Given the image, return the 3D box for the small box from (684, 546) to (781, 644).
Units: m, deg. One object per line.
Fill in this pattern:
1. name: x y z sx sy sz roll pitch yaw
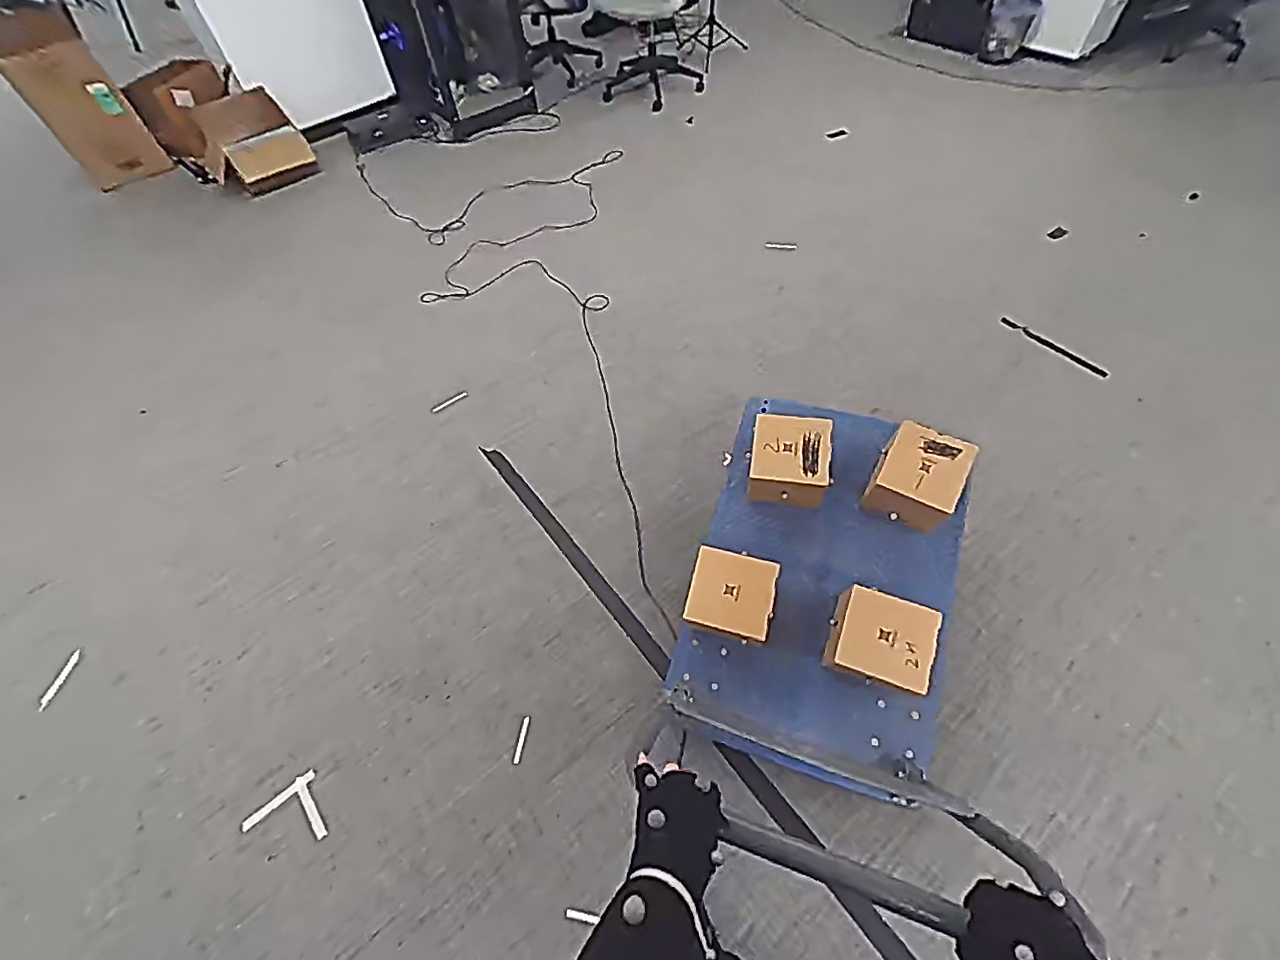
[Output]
1. small box: 0.207 0.264 1.217 0.179 0.176 0.168 13 71 12

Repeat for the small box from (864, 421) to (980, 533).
1. small box: 0.641 -0.002 1.249 0.168 0.176 0.179 26 76 17

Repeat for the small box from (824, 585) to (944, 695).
1. small box: 0.503 0.341 1.139 0.179 0.176 0.168 18 73 15
